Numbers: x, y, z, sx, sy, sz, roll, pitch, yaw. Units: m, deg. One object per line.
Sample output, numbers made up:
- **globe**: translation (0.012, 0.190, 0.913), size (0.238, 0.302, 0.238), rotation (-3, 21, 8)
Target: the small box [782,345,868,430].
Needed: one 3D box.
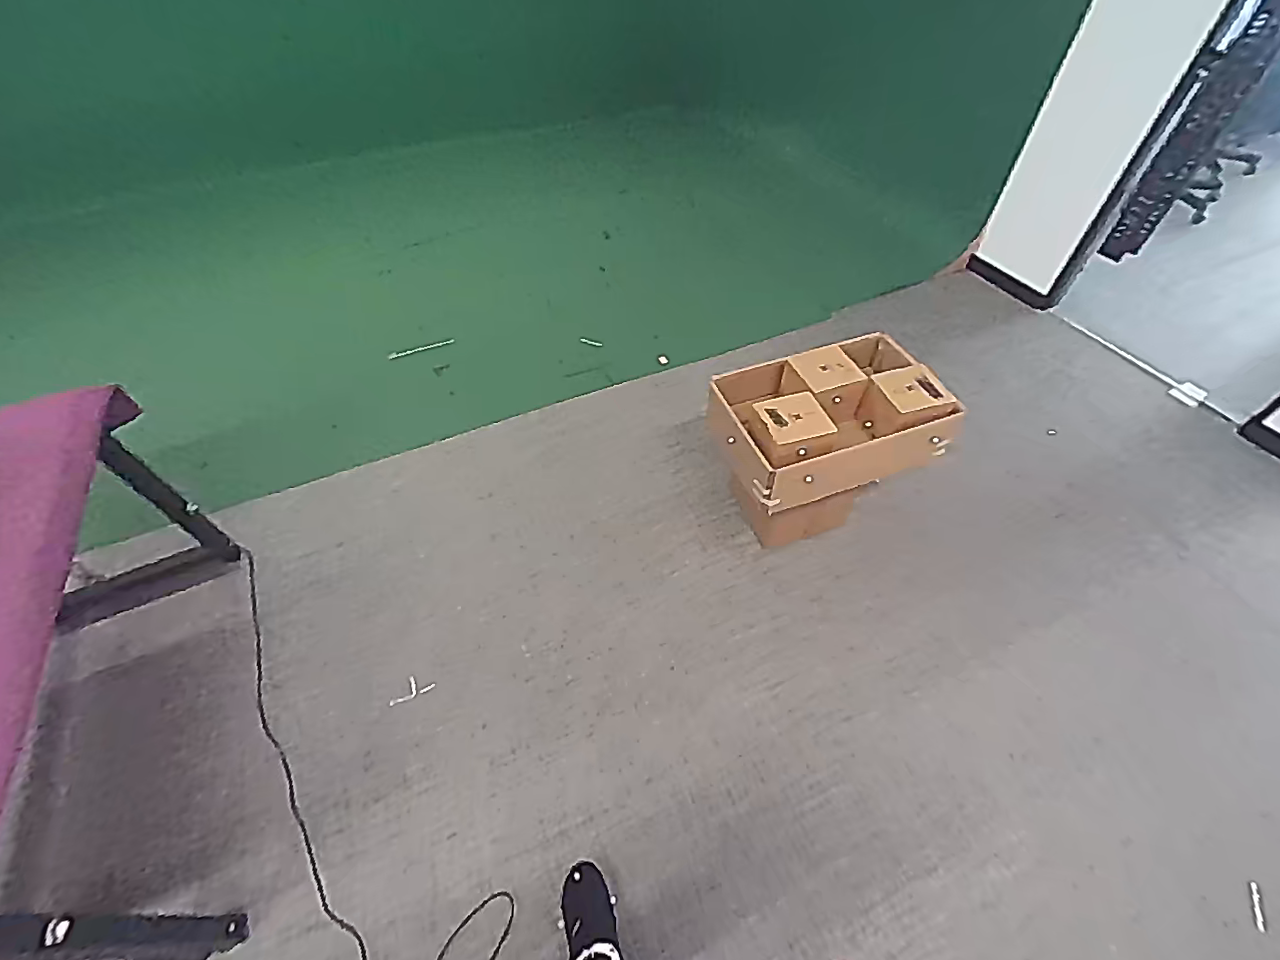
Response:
- **small box**: translation (0.542, -0.272, 1.620), size (0.179, 0.176, 0.168), rotation (-16, 54, -10)
